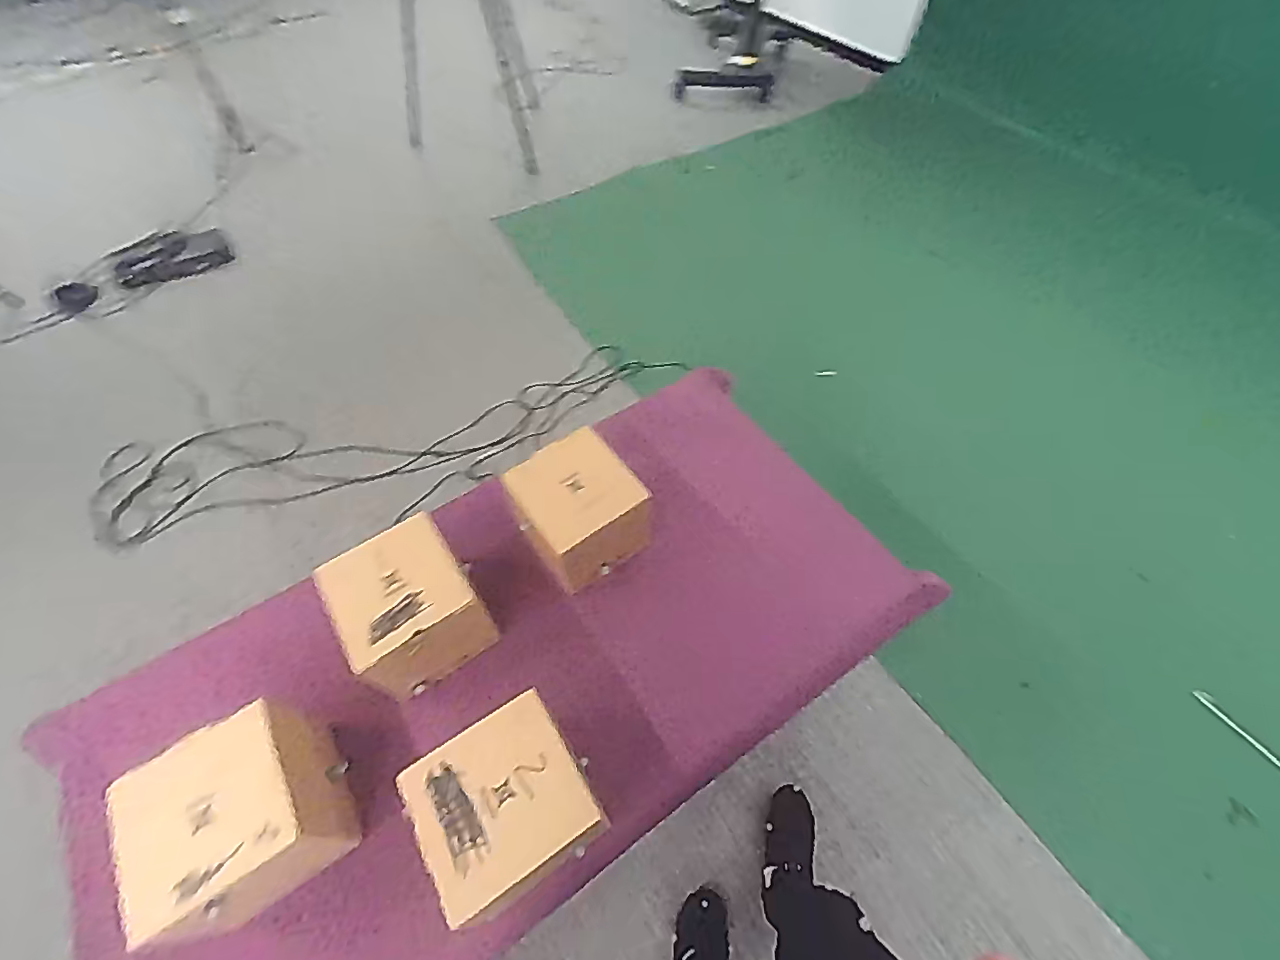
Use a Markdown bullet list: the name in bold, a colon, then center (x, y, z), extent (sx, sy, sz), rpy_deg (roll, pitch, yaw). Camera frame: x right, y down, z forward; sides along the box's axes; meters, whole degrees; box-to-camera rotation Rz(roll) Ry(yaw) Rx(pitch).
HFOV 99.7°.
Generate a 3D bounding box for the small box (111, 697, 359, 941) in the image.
- **small box**: center (-0.478, 0.402, 0.656), extent (0.168, 0.176, 0.179), rpy_deg (-30, 60, -17)

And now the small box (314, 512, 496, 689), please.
- **small box**: center (-0.337, 0.187, 0.803), extent (0.168, 0.176, 0.179), rpy_deg (-31, 61, -19)

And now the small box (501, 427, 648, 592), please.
- **small box**: center (-0.103, 0.052, 0.894), extent (0.168, 0.176, 0.179), rpy_deg (-32, 62, -18)
